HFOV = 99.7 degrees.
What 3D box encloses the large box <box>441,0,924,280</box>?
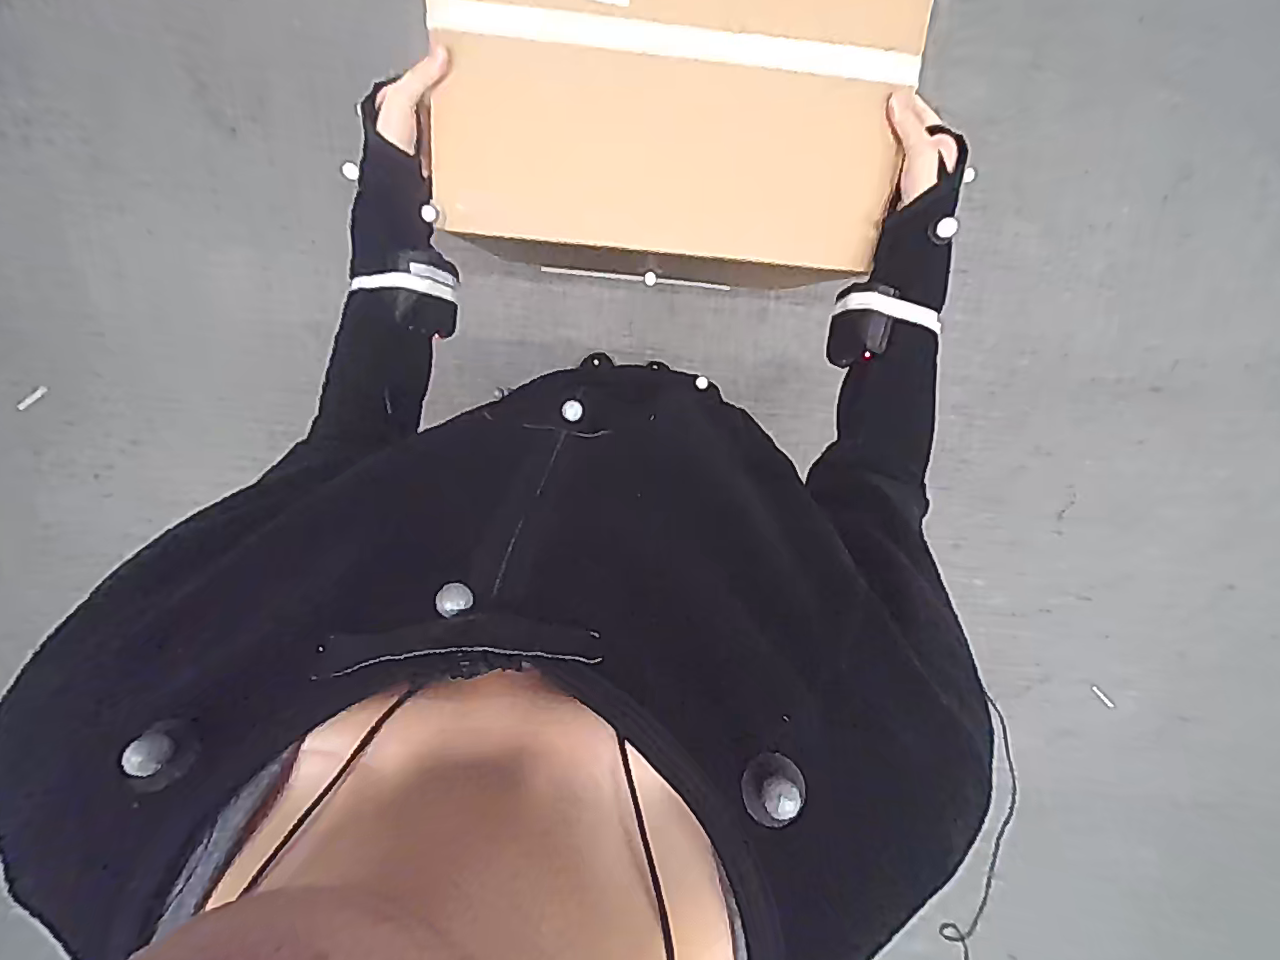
[{"bbox_3d":[0.032,-0.401,0.595,0.408,0.320,0.320,4,105,-3],"label":"large box"}]
